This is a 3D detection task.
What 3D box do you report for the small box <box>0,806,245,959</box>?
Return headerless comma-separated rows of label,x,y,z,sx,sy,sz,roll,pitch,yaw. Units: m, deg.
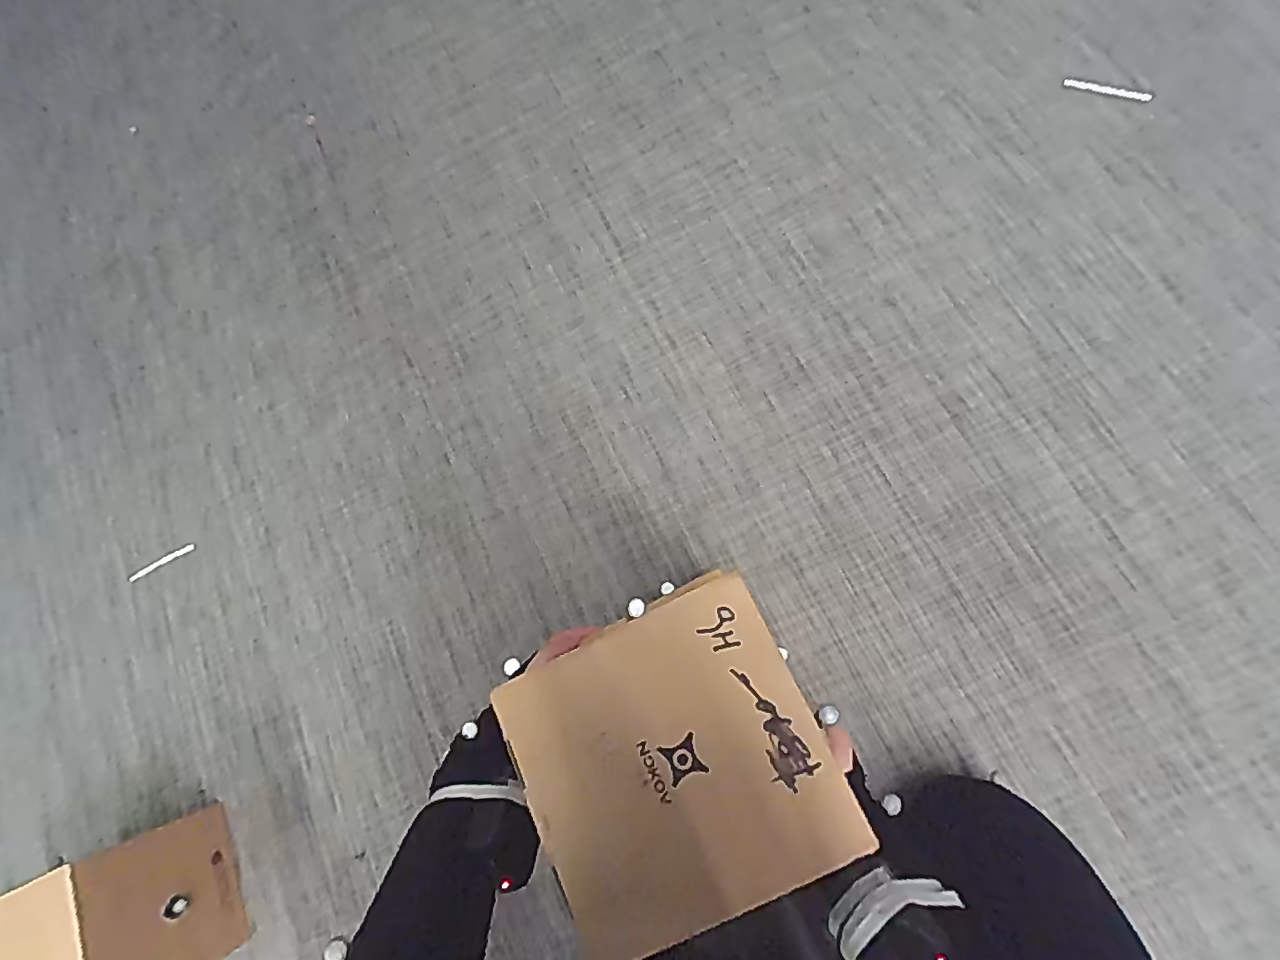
small box,-0.586,0.504,0.605,0.179,0.176,0.168,-27,74,4
